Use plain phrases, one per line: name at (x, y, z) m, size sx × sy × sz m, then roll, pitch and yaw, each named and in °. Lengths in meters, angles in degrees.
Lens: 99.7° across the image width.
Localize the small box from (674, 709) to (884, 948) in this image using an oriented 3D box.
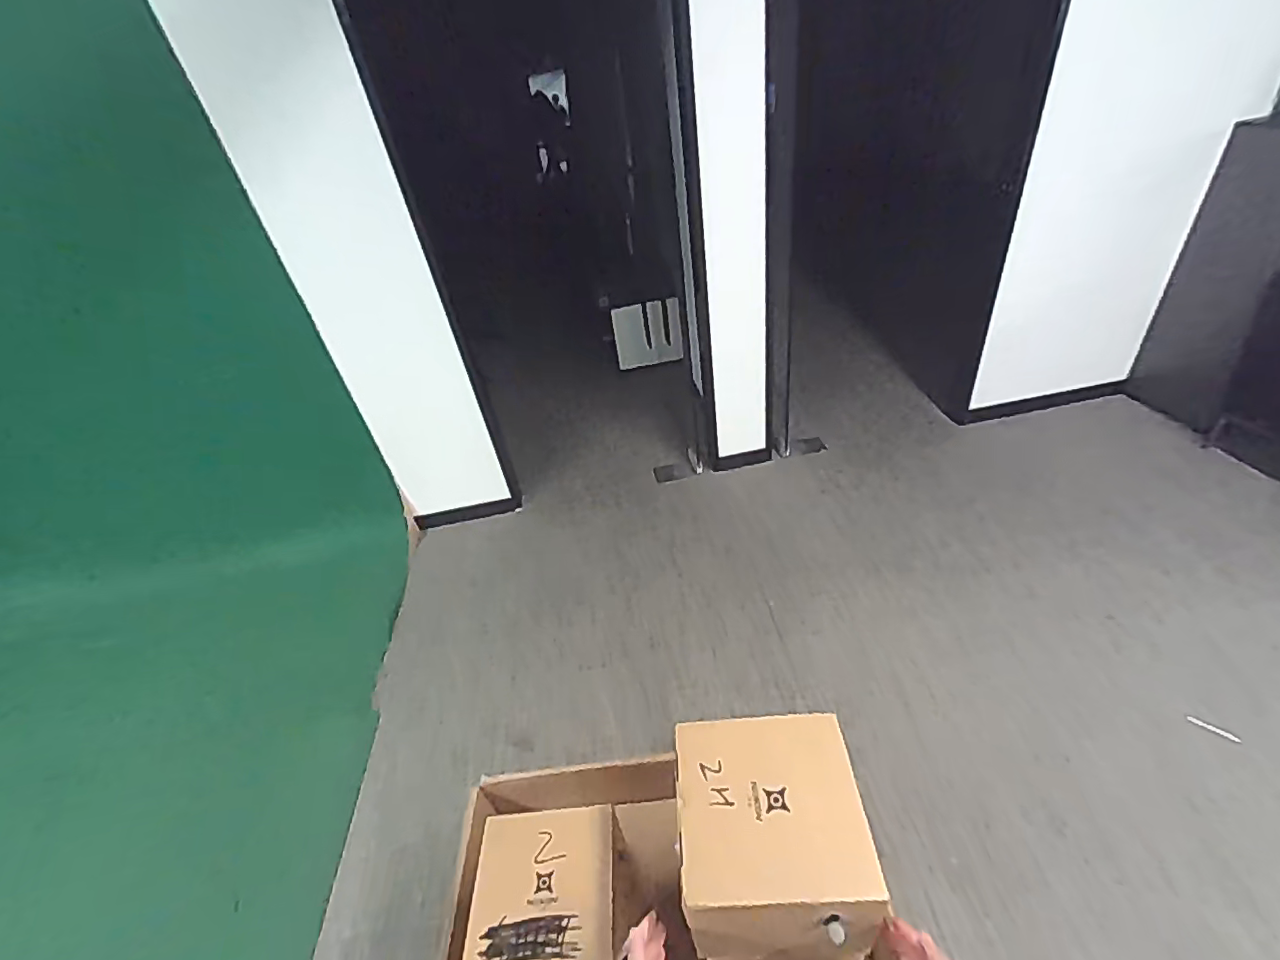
small box at (0.134, 0.366, 0.570) m, size 0.179 × 0.176 × 0.168 m, roll -7°, pitch 37°, yaw 7°

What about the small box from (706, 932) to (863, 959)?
small box at (0.160, 0.492, 0.673) m, size 0.168 × 0.176 × 0.179 m, roll -8°, pitch 38°, yaw 5°
